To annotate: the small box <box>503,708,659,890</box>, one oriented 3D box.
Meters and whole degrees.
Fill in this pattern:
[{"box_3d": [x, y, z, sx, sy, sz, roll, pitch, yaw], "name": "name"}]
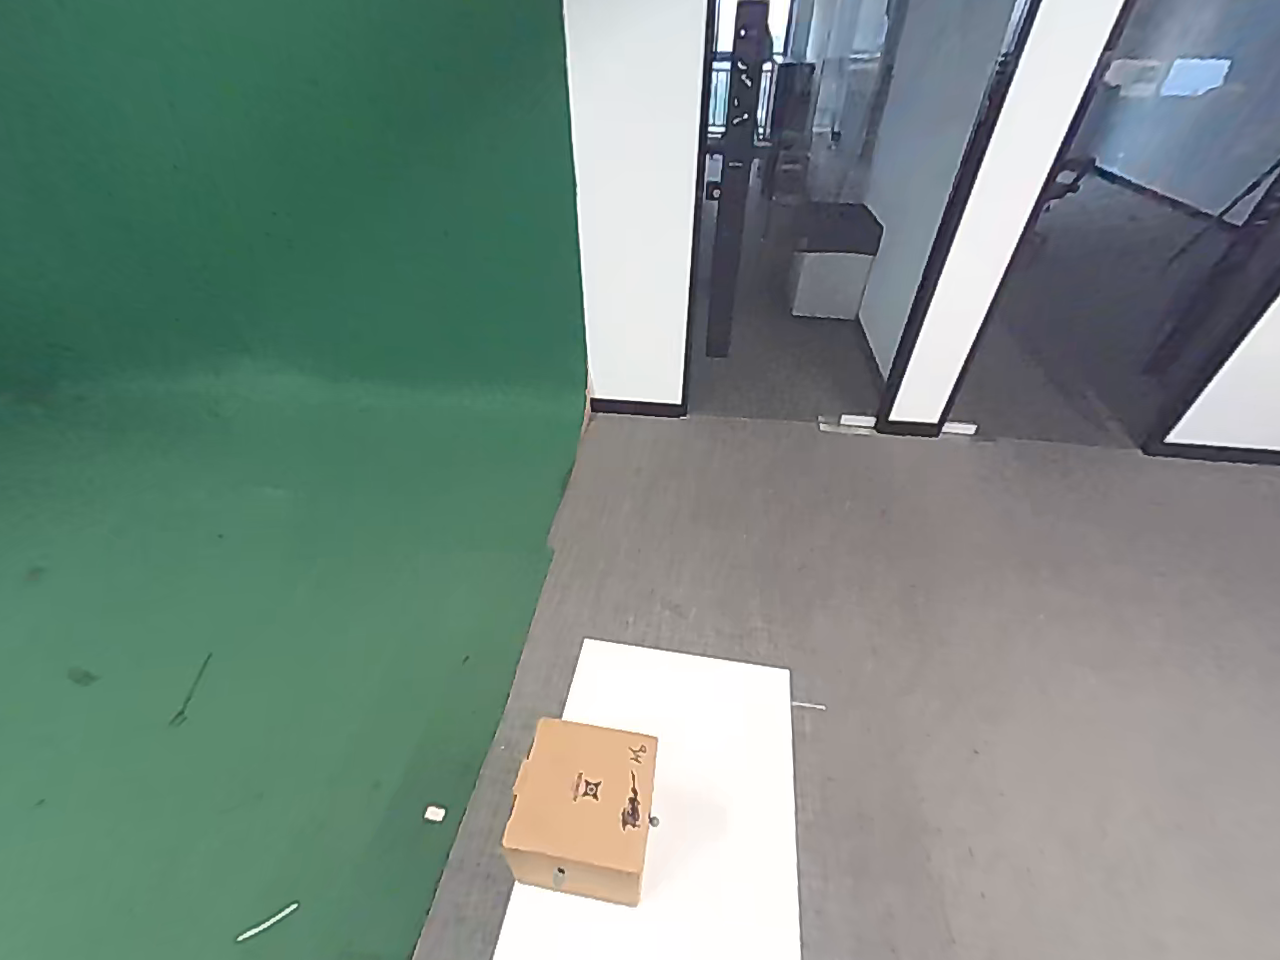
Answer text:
[{"box_3d": [-0.072, 0.450, 0.763, 0.179, 0.176, 0.168, 6, 42, 6], "name": "small box"}]
